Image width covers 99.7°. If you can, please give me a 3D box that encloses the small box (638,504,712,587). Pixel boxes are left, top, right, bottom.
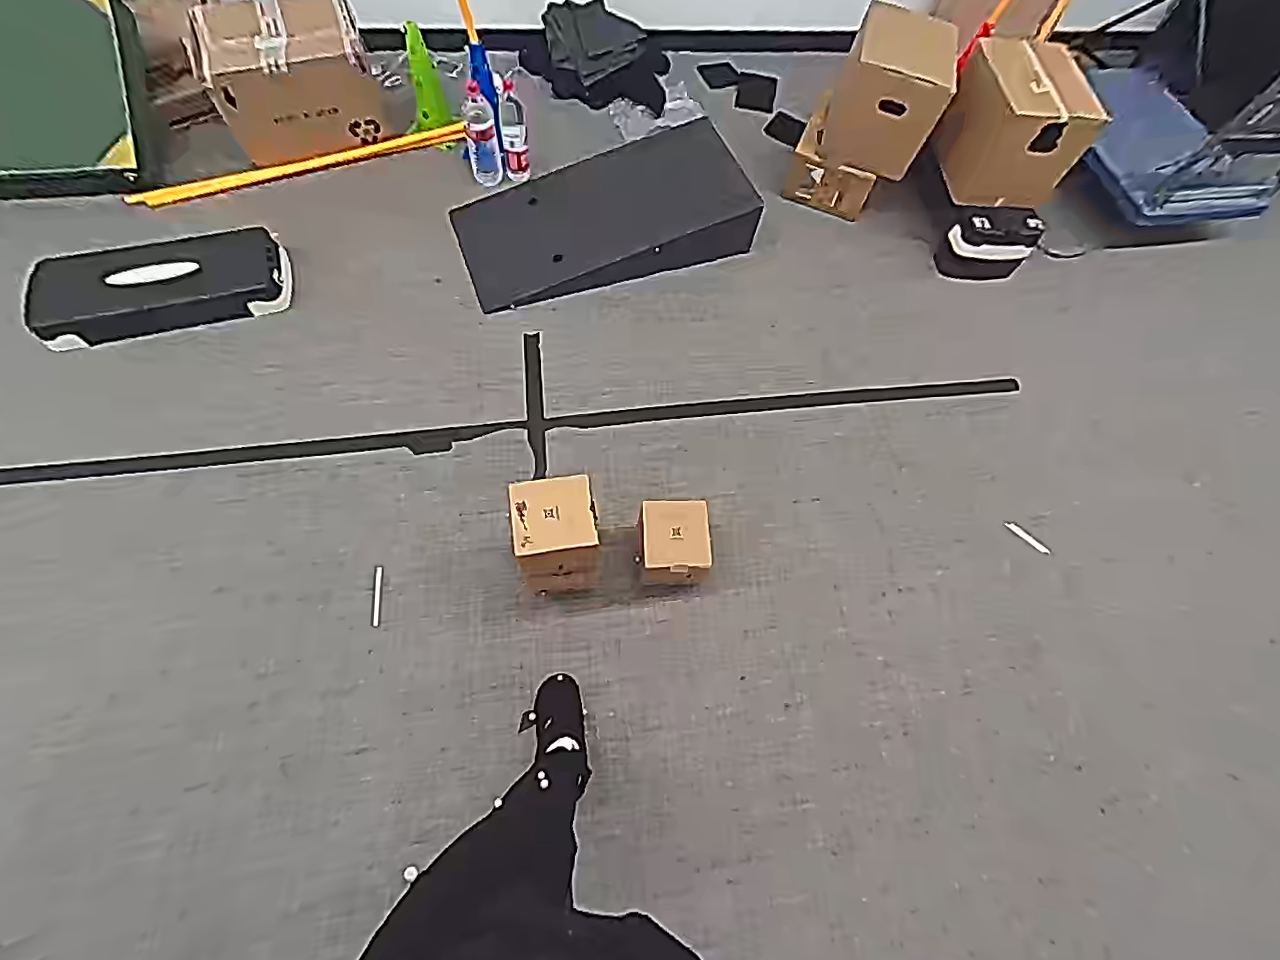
[{"bbox_3d":[0.084,0.174,1.392,0.168,0.176,0.179,1,65,-6],"label":"small box"}]

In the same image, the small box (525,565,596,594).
[{"bbox_3d":[-0.196,0.185,1.358,0.168,0.176,0.179,-2,65,-7],"label":"small box"}]

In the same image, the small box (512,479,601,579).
[{"bbox_3d":[-0.187,0.113,1.210,0.179,0.176,0.168,-7,65,-9],"label":"small box"}]
